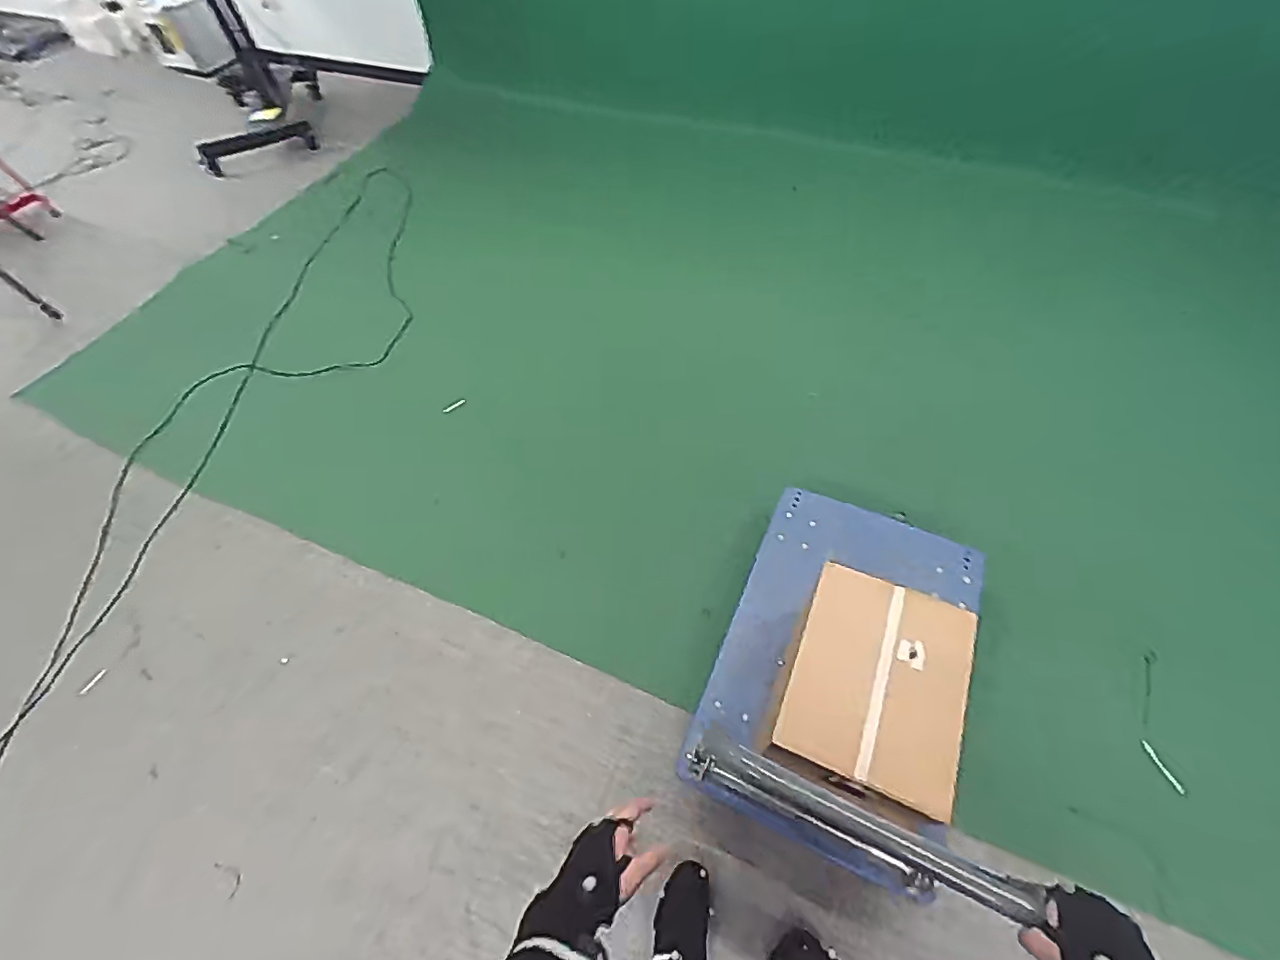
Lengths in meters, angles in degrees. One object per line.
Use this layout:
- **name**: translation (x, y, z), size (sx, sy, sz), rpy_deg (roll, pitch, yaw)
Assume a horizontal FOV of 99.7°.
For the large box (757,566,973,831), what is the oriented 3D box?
- **large box**: translation (0.473, 0.472, 1.172), size (0.320, 0.320, 0.408), rpy_deg (20, 59, 15)
